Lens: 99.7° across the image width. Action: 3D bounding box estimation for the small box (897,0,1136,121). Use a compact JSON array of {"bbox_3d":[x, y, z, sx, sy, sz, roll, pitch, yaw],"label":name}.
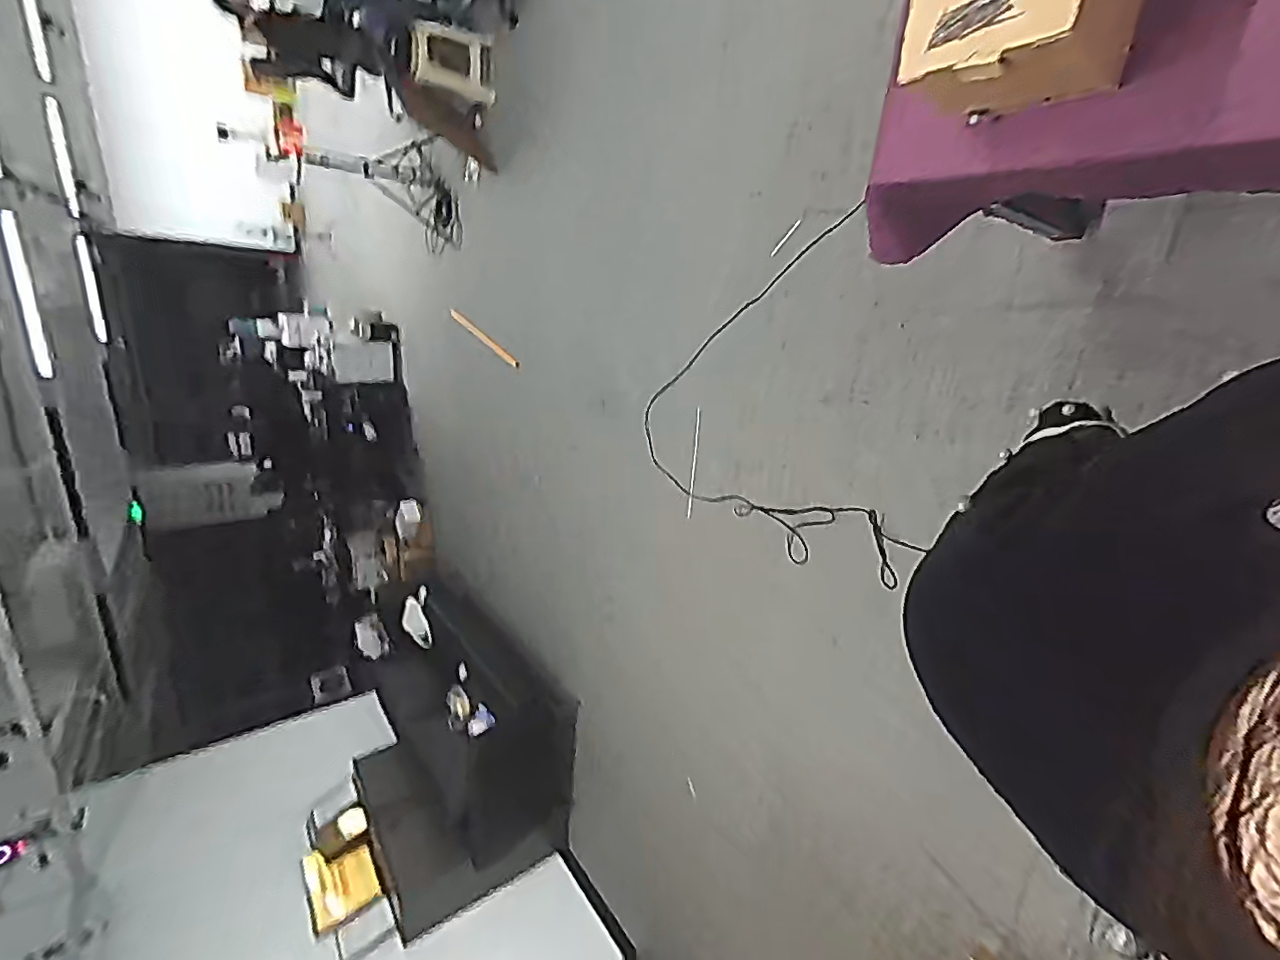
[{"bbox_3d":[0.412,-0.514,0.582,0.168,0.176,0.179,24,114,48],"label":"small box"}]
